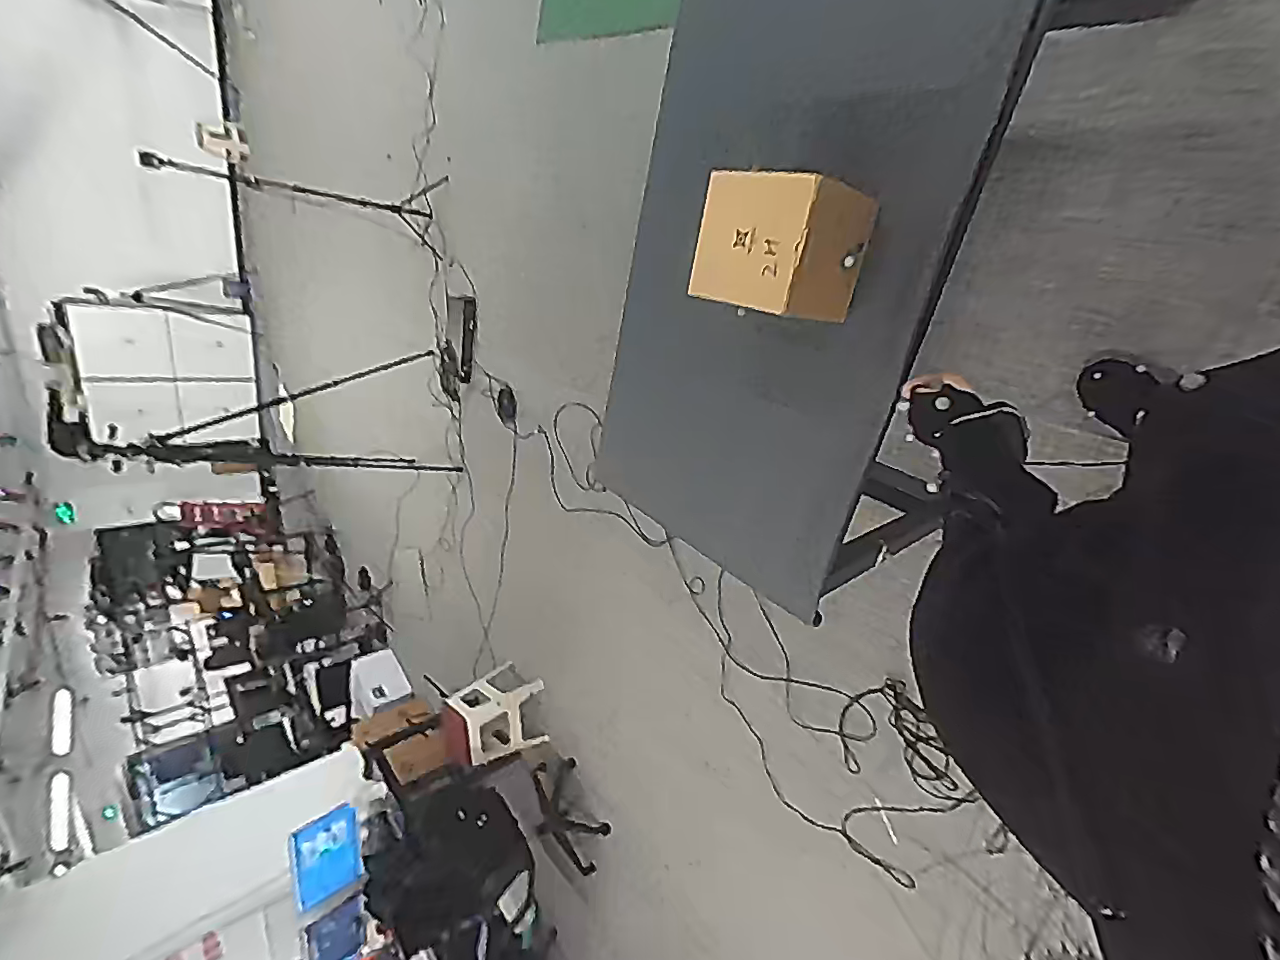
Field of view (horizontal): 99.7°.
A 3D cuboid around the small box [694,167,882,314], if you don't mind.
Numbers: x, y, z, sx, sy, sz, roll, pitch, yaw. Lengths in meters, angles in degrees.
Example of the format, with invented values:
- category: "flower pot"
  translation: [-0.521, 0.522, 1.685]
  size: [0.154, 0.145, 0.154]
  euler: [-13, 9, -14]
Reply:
- category: "small box"
  translation: [0.209, -0.338, 0.777]
  size: [0.179, 0.176, 0.168]
  euler: [30, 120, 41]
